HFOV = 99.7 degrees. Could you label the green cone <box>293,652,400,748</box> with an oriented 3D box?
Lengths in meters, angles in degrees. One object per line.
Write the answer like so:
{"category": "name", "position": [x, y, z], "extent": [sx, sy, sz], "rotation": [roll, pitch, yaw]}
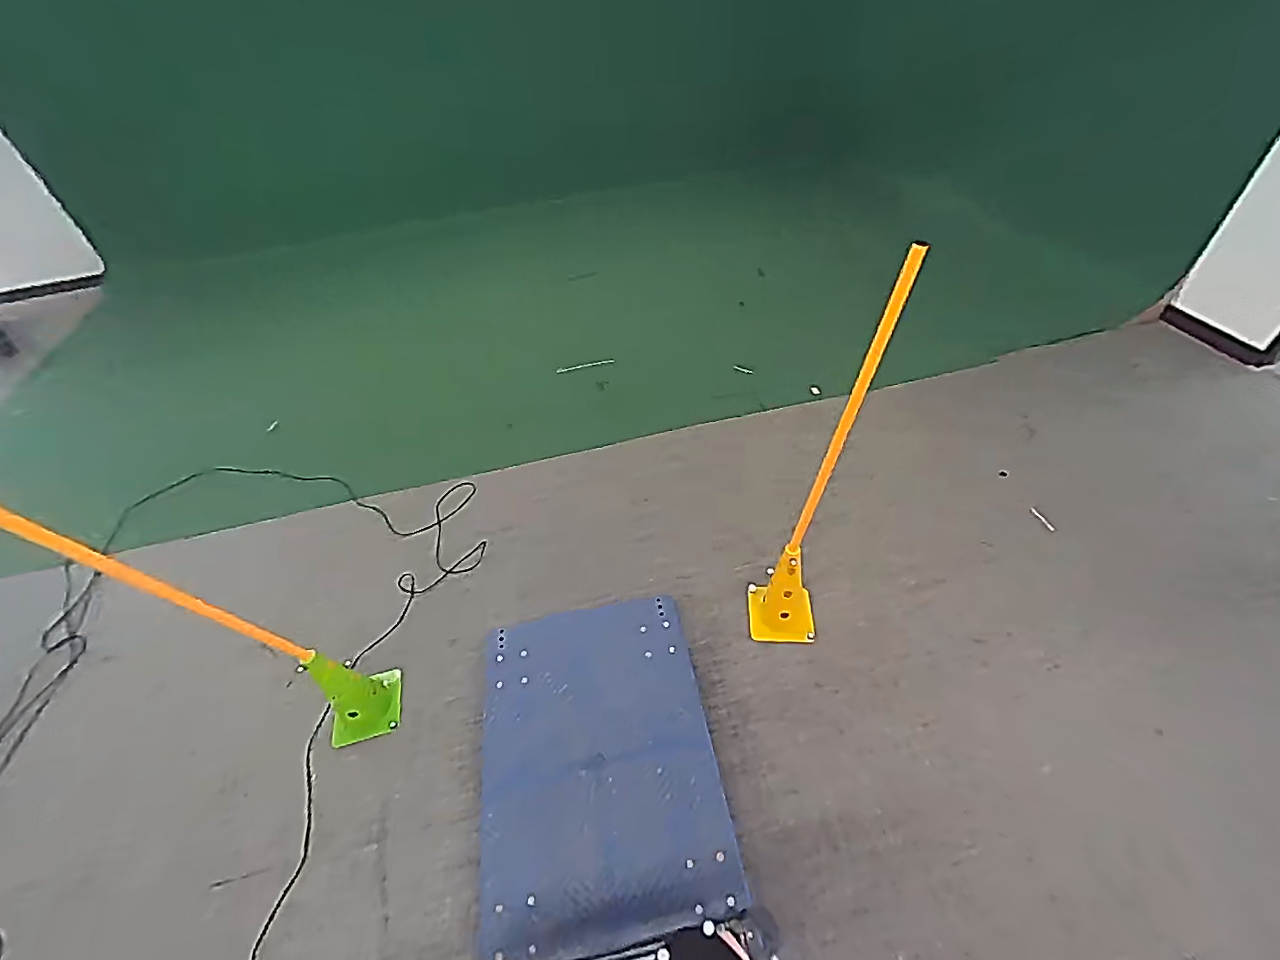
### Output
{"category": "green cone", "position": [-0.866, 0.586, 1.548], "extent": [0.202, 0.368, 0.200], "rotation": [-17, 46, -6]}
